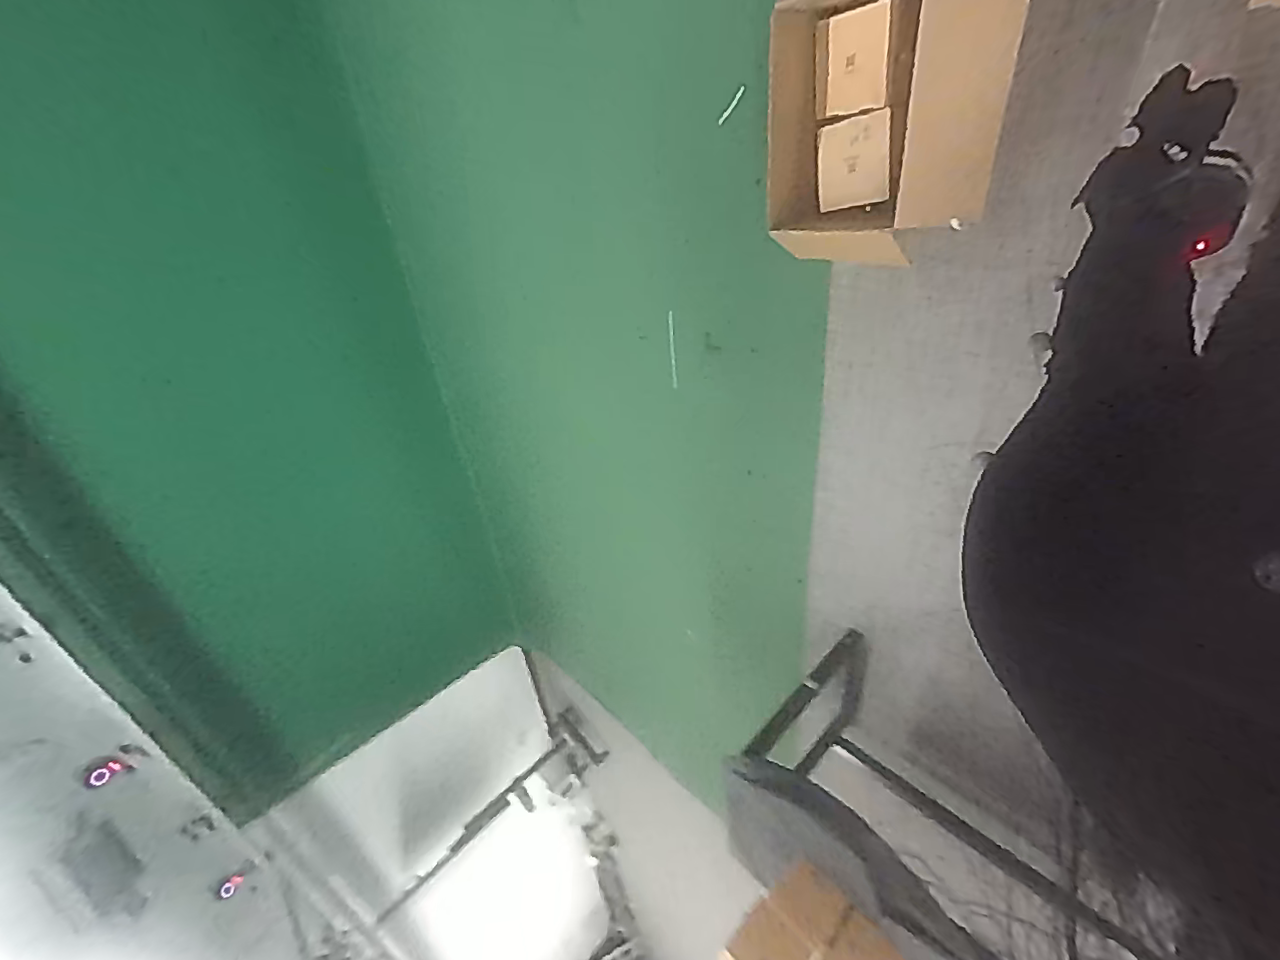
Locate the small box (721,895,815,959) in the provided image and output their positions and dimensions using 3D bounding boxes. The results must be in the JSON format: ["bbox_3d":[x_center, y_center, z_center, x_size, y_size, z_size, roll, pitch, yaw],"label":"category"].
[{"bbox_3d":[0.346,1.283,1.463,0.179,0.176,0.168,35,139,35],"label":"small box"}]
